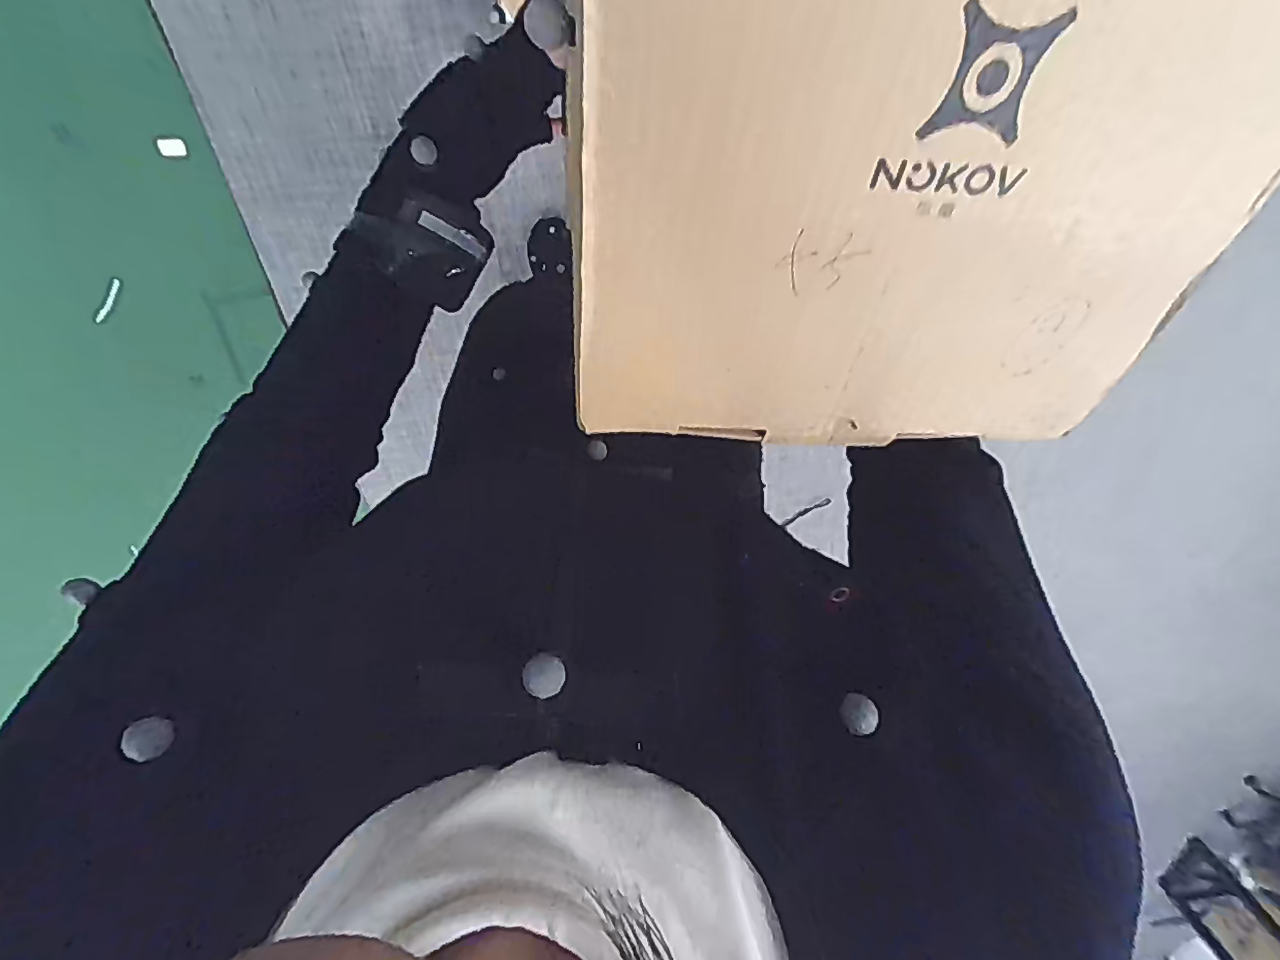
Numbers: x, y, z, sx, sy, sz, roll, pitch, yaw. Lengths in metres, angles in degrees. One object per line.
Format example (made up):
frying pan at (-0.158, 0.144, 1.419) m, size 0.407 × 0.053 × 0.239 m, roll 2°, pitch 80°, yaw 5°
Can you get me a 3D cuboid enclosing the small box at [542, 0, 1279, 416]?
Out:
small box at (0.058, -0.140, 0.172) m, size 0.168 × 0.176 × 0.179 m, roll -1°, pitch 136°, yaw -5°
